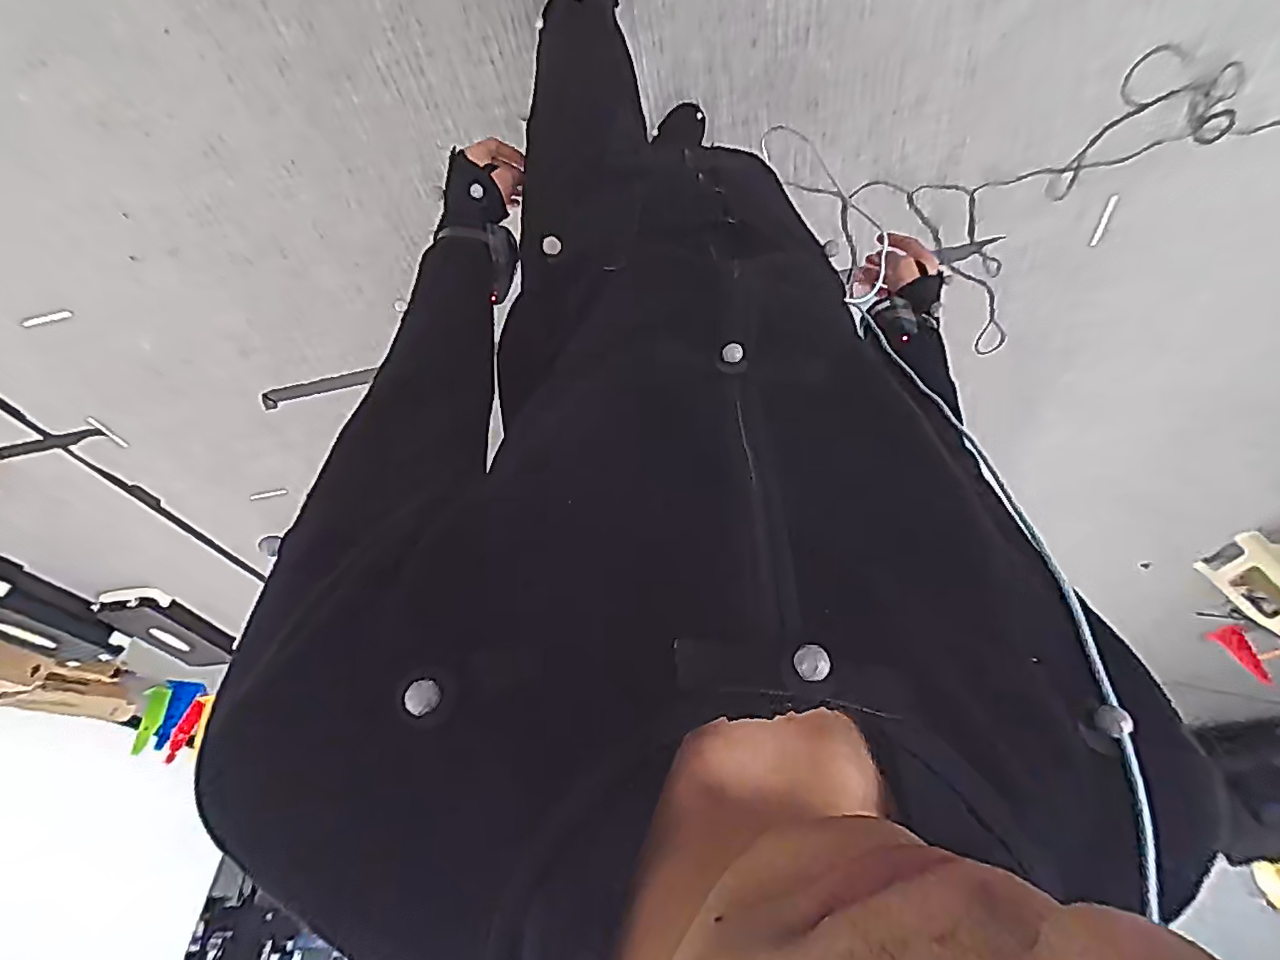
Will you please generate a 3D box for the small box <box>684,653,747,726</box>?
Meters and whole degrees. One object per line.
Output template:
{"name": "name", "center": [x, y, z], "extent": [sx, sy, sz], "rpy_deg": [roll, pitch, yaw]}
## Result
{"name": "small box", "center": [0.237, 0.655, 1.705], "extent": [0.168, 0.176, 0.179], "rpy_deg": [-11, 139, 8]}
